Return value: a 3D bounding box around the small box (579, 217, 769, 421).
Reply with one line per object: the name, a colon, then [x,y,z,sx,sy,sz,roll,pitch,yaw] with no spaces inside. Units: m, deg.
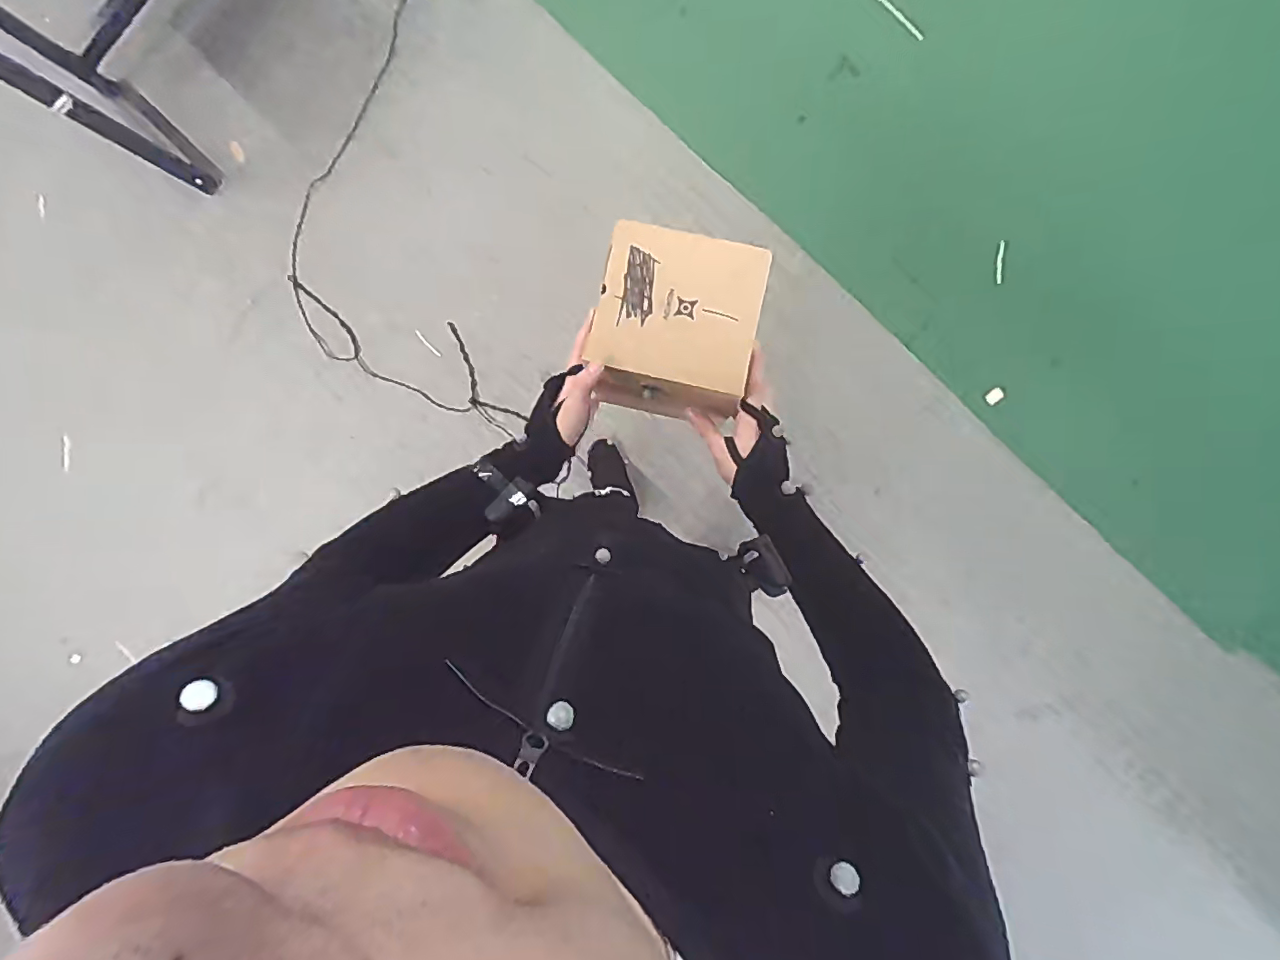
small box: [0.039,-0.179,0.650,0.179,0.176,0.168,12,83,2]
